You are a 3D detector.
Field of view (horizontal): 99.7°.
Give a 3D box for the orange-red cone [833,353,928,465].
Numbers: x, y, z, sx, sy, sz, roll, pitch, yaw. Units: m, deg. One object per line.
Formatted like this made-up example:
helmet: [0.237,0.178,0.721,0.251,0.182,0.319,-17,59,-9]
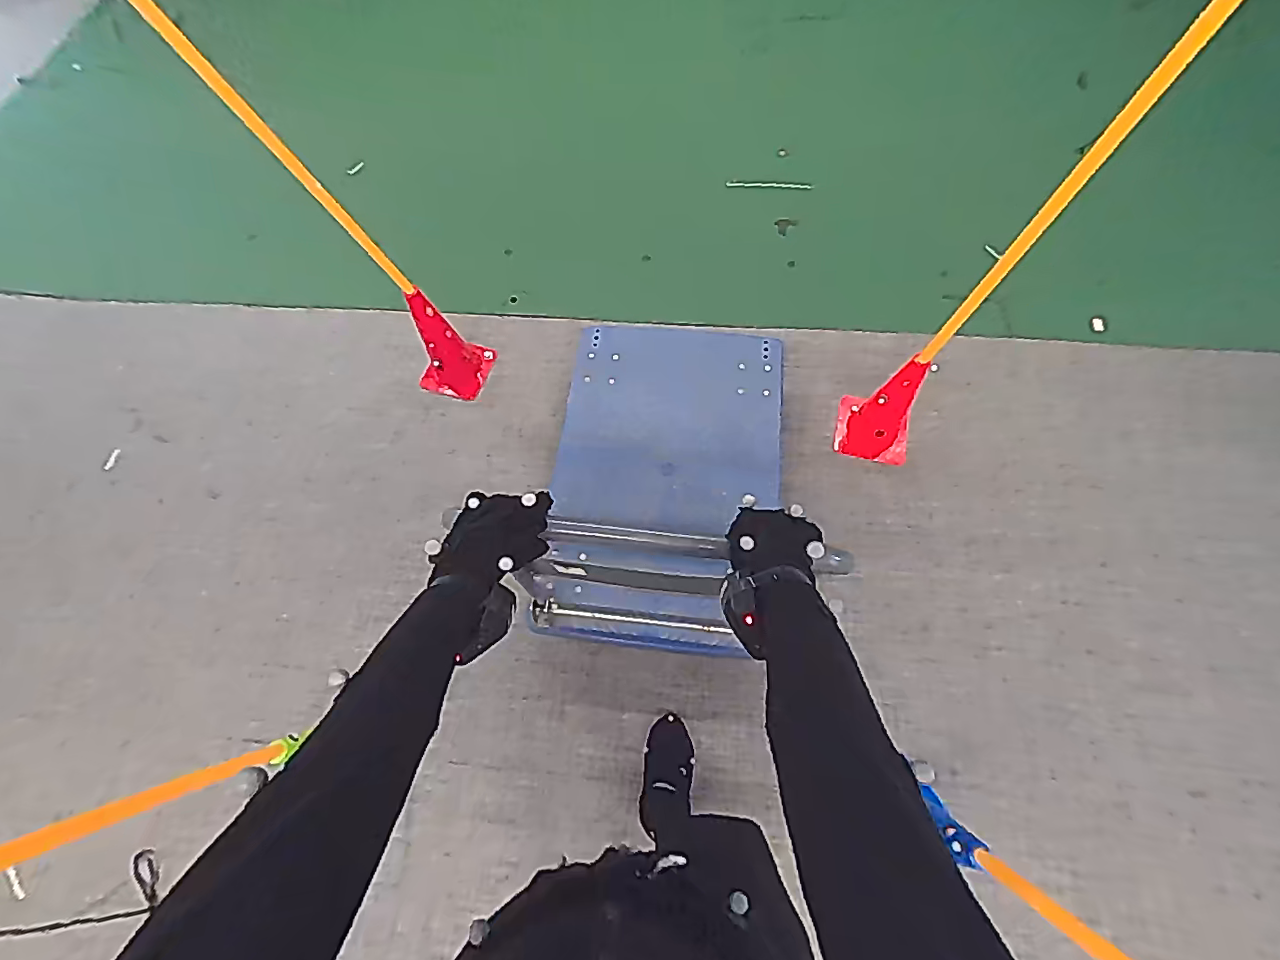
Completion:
orange-red cone: [0.669,-0.212,1.431,0.198,0.360,0.199,14,69,9]
